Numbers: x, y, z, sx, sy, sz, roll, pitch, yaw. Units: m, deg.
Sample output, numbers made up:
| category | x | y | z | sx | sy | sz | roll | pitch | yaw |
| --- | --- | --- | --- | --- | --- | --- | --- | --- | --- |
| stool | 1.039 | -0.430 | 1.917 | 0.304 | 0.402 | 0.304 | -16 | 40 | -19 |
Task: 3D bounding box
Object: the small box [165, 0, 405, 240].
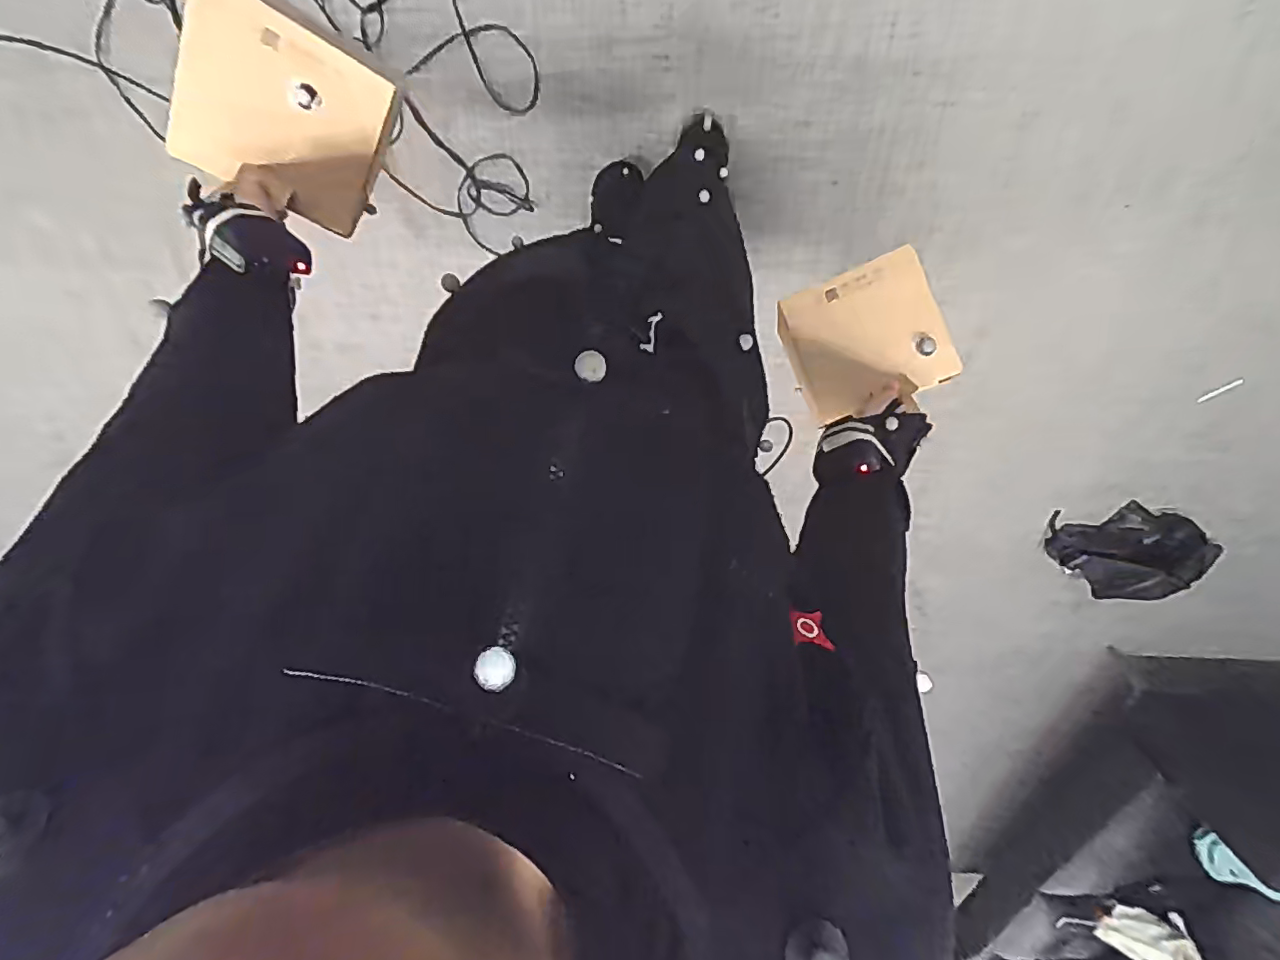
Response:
| category | x | y | z | sx | sy | sz | roll | pitch | yaw |
| --- | --- | --- | --- | --- | --- | --- | --- | --- | --- |
| small box | -0.367 | -0.402 | 0.585 | 0.168 | 0.179 | 0.176 | 20 | 121 | -32 |
